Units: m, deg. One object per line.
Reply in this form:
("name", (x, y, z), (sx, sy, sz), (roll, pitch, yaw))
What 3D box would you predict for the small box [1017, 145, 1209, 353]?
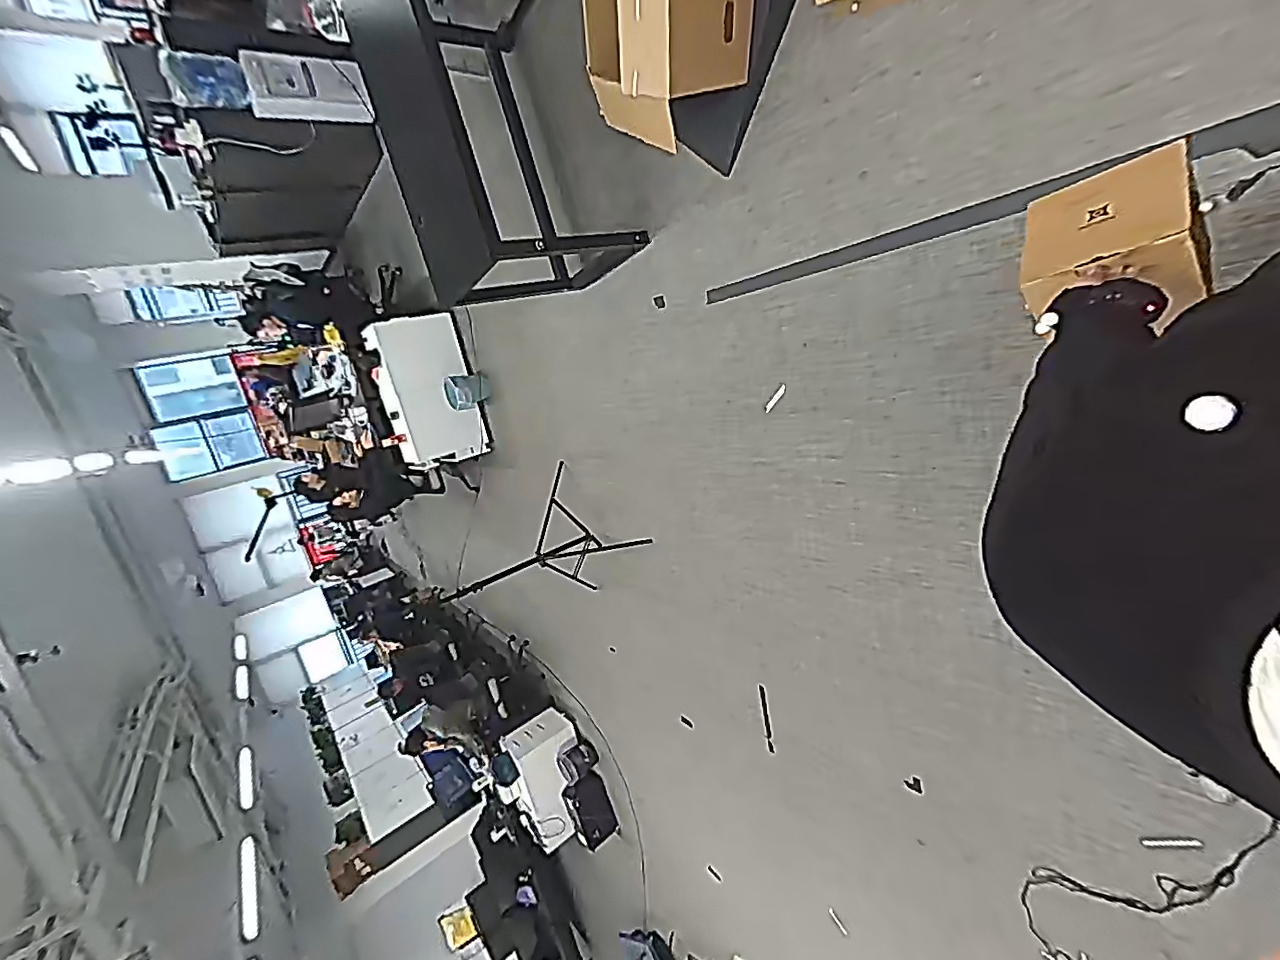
("small box", (0.647, -0.295, 0.739), (0.176, 0.179, 0.168), (38, 154, -30))
